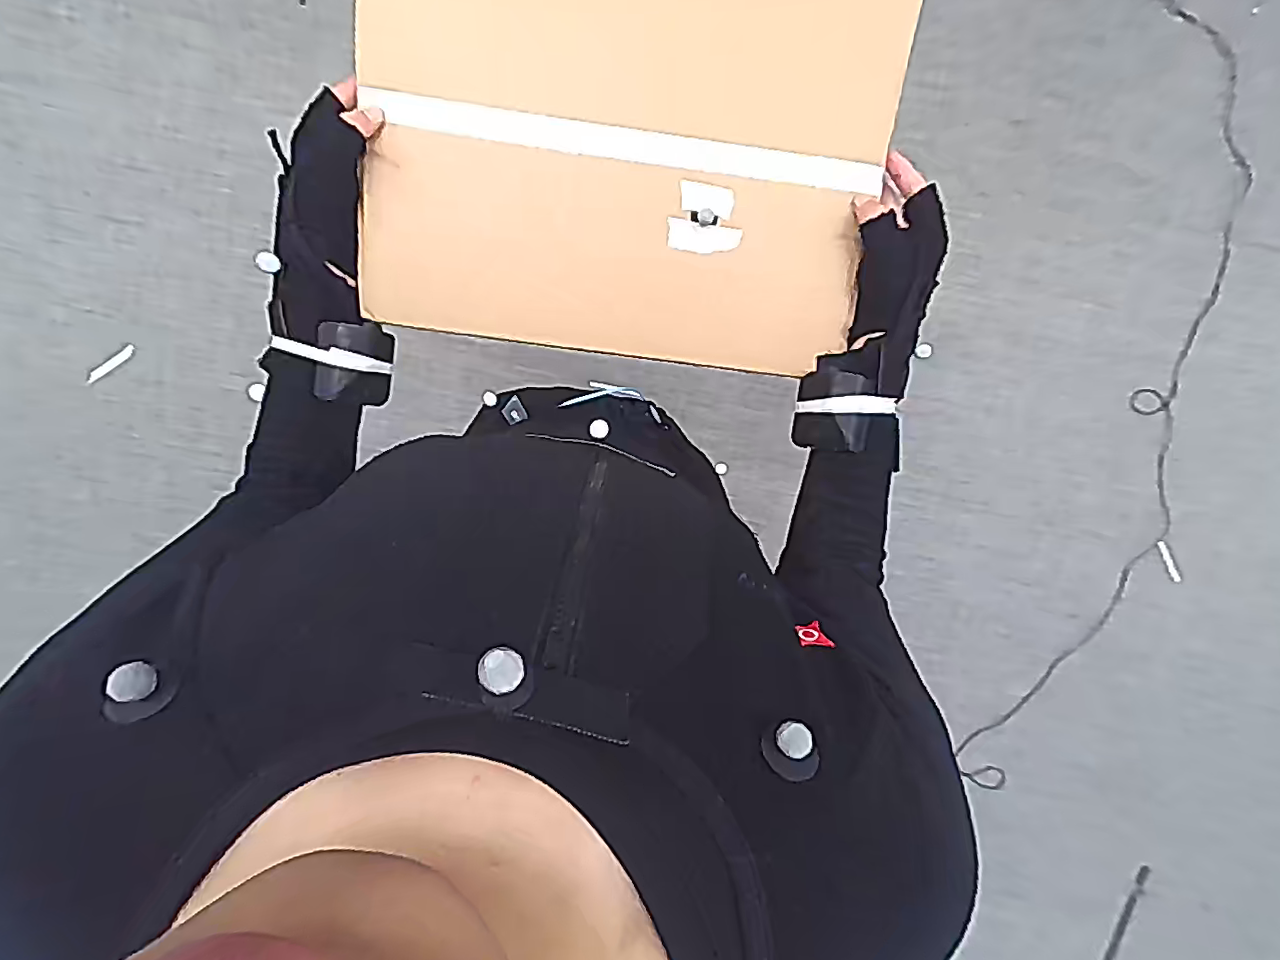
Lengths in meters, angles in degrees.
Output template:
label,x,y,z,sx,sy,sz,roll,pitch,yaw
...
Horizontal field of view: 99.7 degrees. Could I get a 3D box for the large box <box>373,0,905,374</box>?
label,x,y,z,sx,sy,sz,roll,pitch,yaw
large box,-0.017,-0.298,0.575,0.408,0.320,0.320,6,106,-5
